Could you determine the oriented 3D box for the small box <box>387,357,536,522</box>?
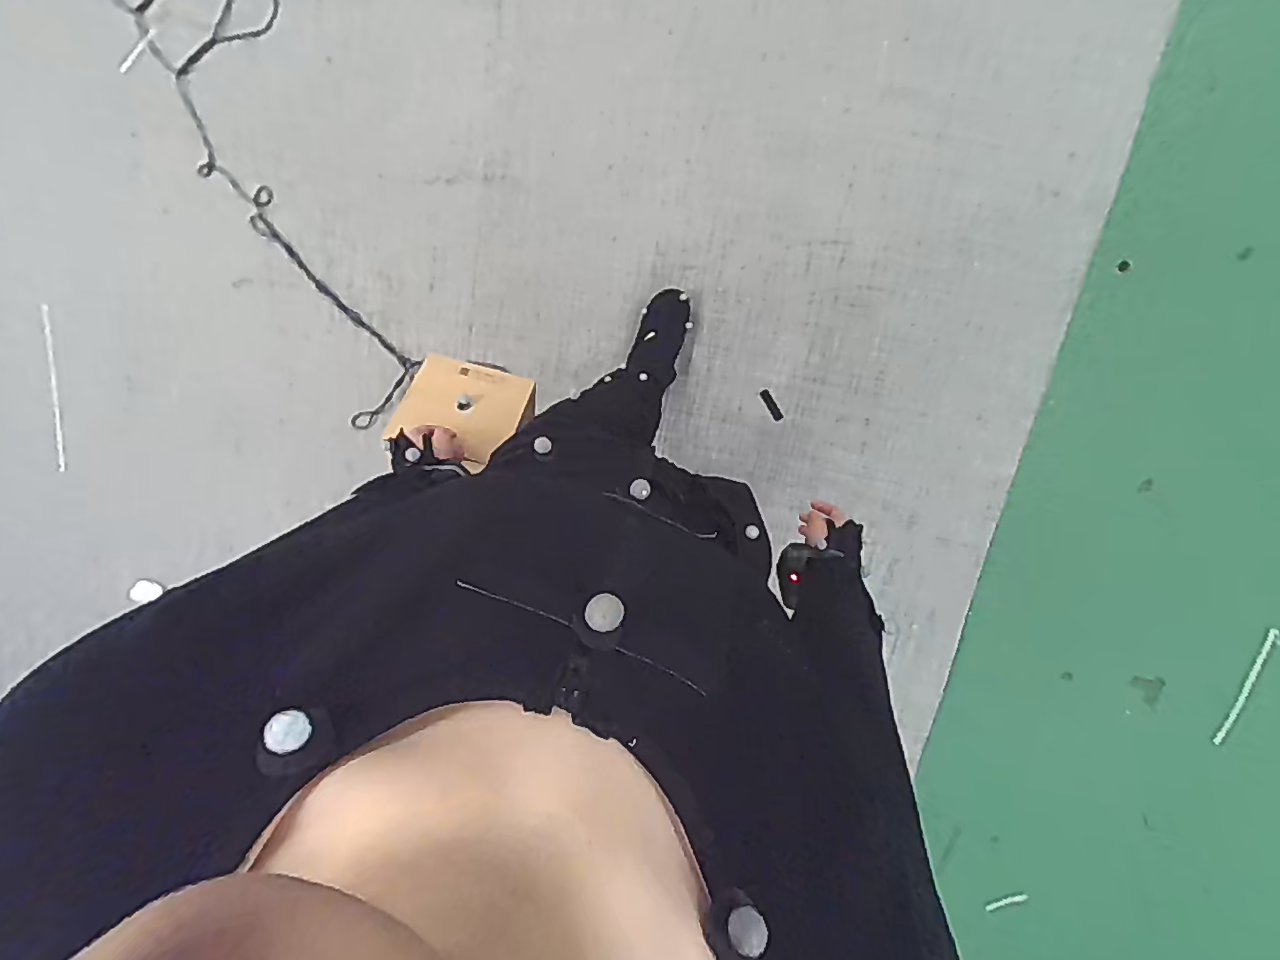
[{"bbox_3d":[-0.264,-0.062,0.840,0.168,0.176,0.179,14,147,-4],"label":"small box"}]
